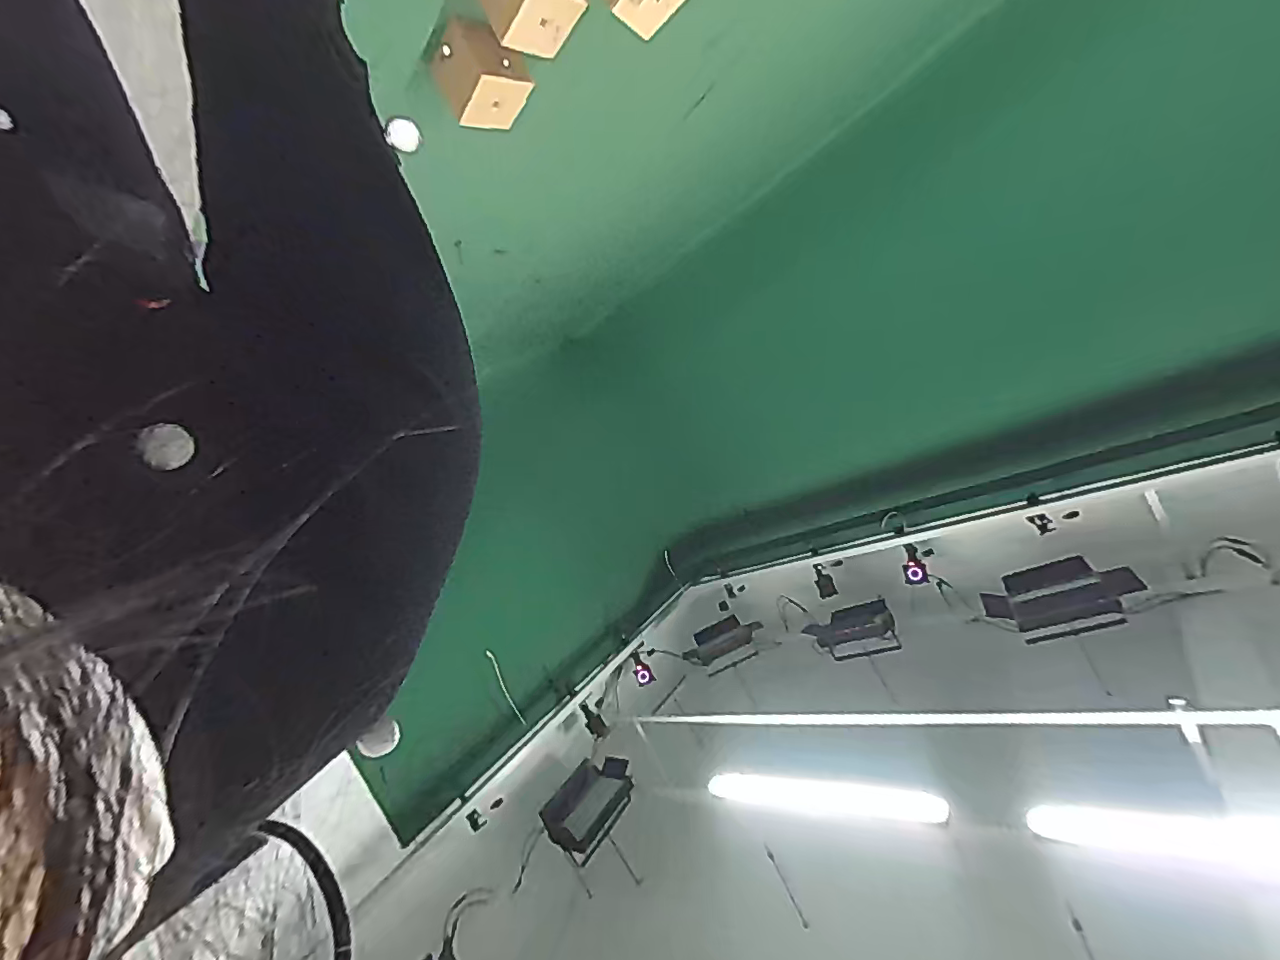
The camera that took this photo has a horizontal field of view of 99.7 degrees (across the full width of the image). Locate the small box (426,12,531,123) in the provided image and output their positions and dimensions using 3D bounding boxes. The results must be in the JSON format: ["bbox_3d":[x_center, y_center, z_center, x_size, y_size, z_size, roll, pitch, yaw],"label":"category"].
[{"bbox_3d":[-0.432,-1.095,1.444,0.179,0.176,0.168,-32,-175,-43],"label":"small box"}]

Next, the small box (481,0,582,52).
[{"bbox_3d":[-0.271,-1.166,1.269,0.168,0.176,0.179,-23,-173,44],"label":"small box"}]
